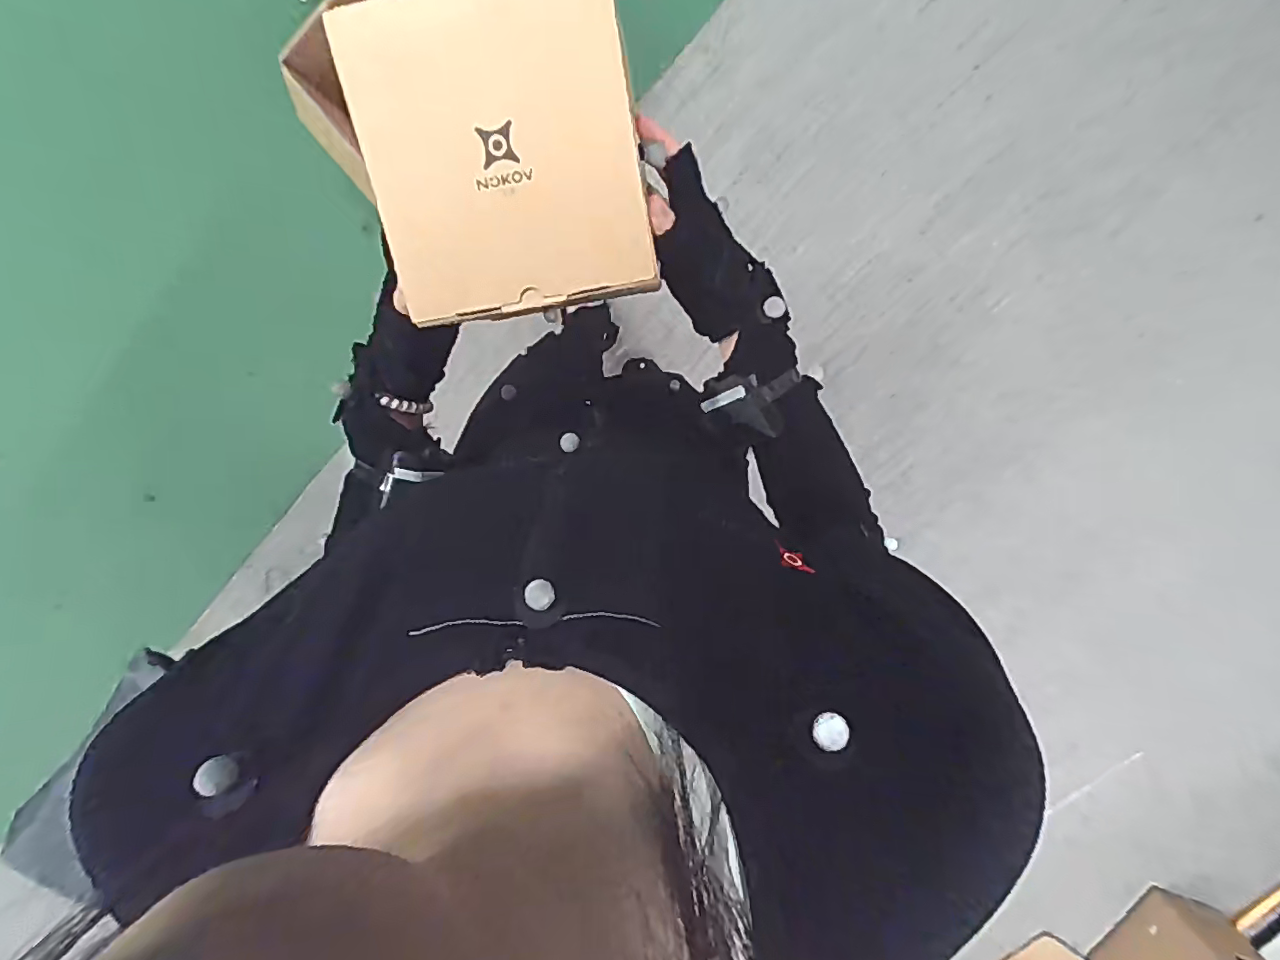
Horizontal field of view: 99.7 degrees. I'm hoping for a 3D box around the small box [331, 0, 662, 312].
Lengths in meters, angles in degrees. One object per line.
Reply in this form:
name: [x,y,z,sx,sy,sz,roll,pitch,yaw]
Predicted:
small box: [-0.079,-0.226,0.398,0.168,0.176,0.179,-9,108,5]
